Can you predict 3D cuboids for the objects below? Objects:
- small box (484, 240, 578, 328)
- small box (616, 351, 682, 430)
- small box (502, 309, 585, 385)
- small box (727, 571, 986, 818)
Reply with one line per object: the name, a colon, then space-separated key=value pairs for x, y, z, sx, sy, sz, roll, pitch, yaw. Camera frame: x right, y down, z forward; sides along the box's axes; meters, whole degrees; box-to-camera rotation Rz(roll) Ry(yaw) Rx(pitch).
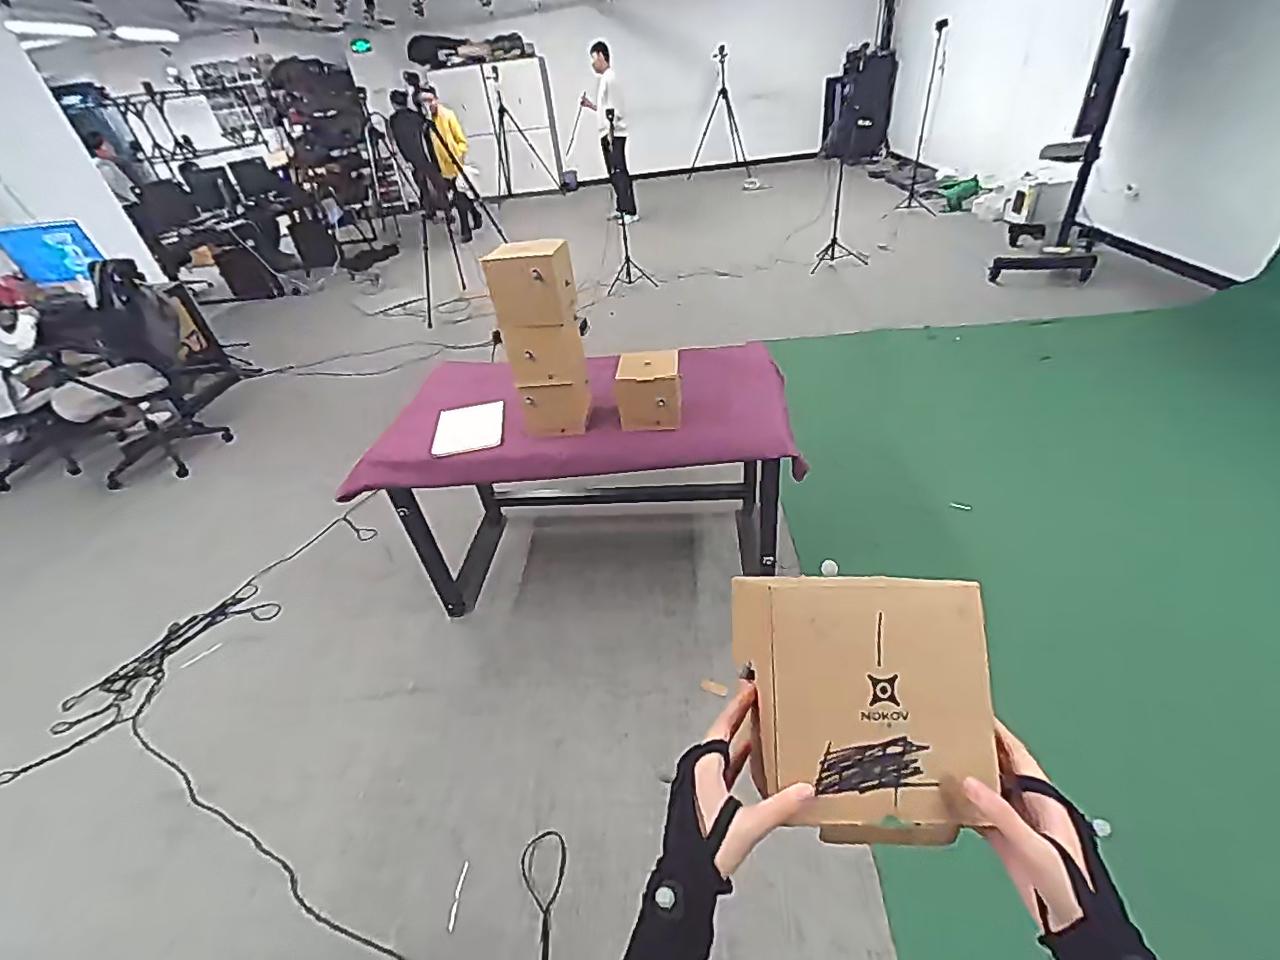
small box: x=-0.264 y=-0.494 z=1.367 sx=0.179 sy=0.176 sz=0.168 roll=-1 pitch=35 yaw=9
small box: x=0.033 y=-0.250 z=1.539 sx=0.168 sy=0.176 sz=0.179 roll=-2 pitch=36 yaw=7
small box: x=-0.253 y=-0.365 z=1.470 sx=0.168 sy=0.176 sz=0.179 roll=-2 pitch=36 yaw=8
small box: x=0.175 y=0.174 z=0.489 sx=0.168 sy=0.176 sz=0.179 roll=0 pitch=81 yaw=-1
